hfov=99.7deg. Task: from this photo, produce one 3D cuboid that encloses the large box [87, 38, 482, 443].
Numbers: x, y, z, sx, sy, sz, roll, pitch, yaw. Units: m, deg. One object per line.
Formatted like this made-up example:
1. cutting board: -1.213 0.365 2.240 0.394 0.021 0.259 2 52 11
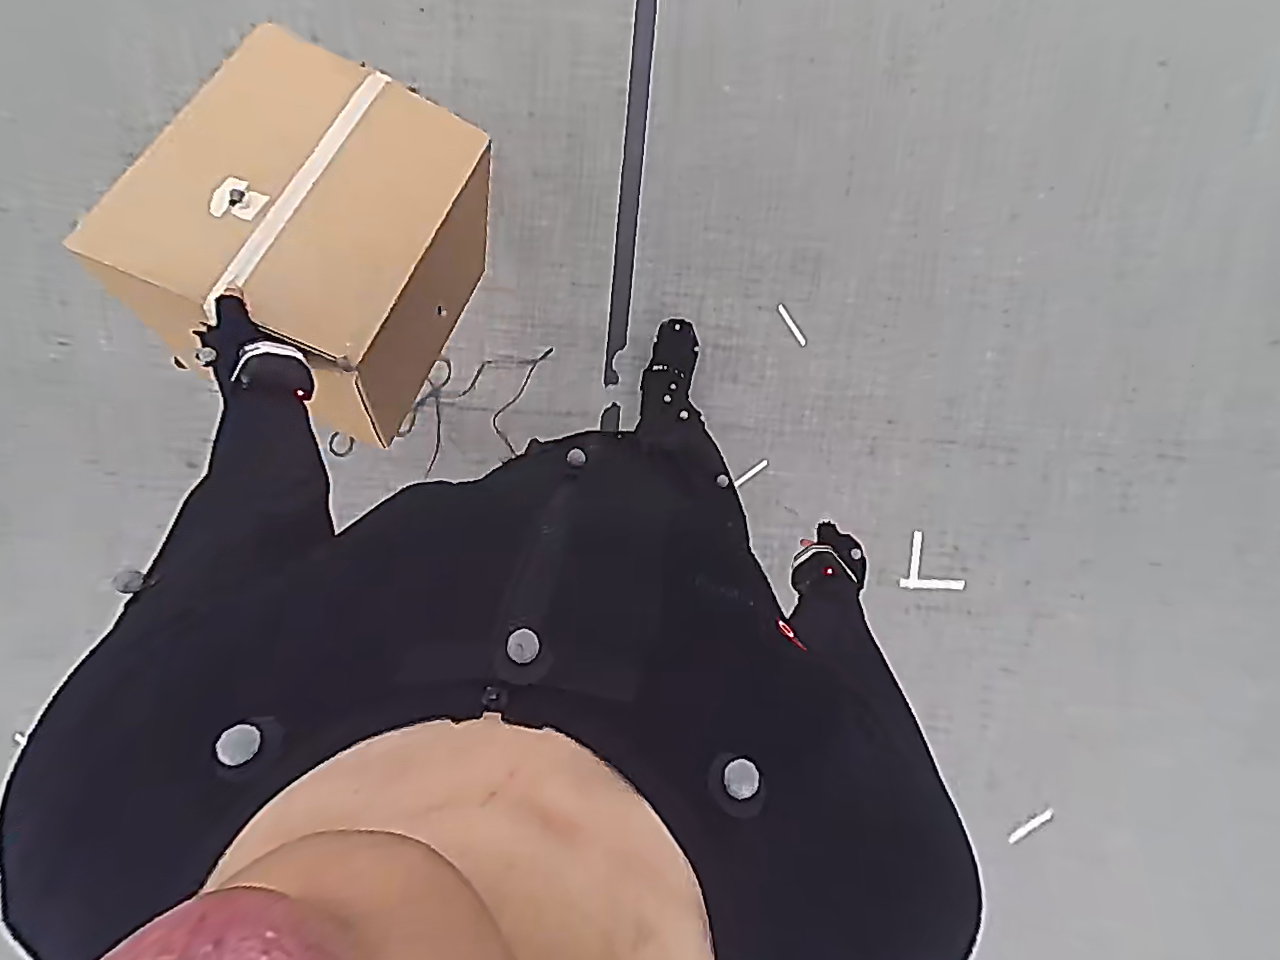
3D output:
1. large box: -0.464 -0.328 0.826 0.320 0.320 0.408 21 69 -10
